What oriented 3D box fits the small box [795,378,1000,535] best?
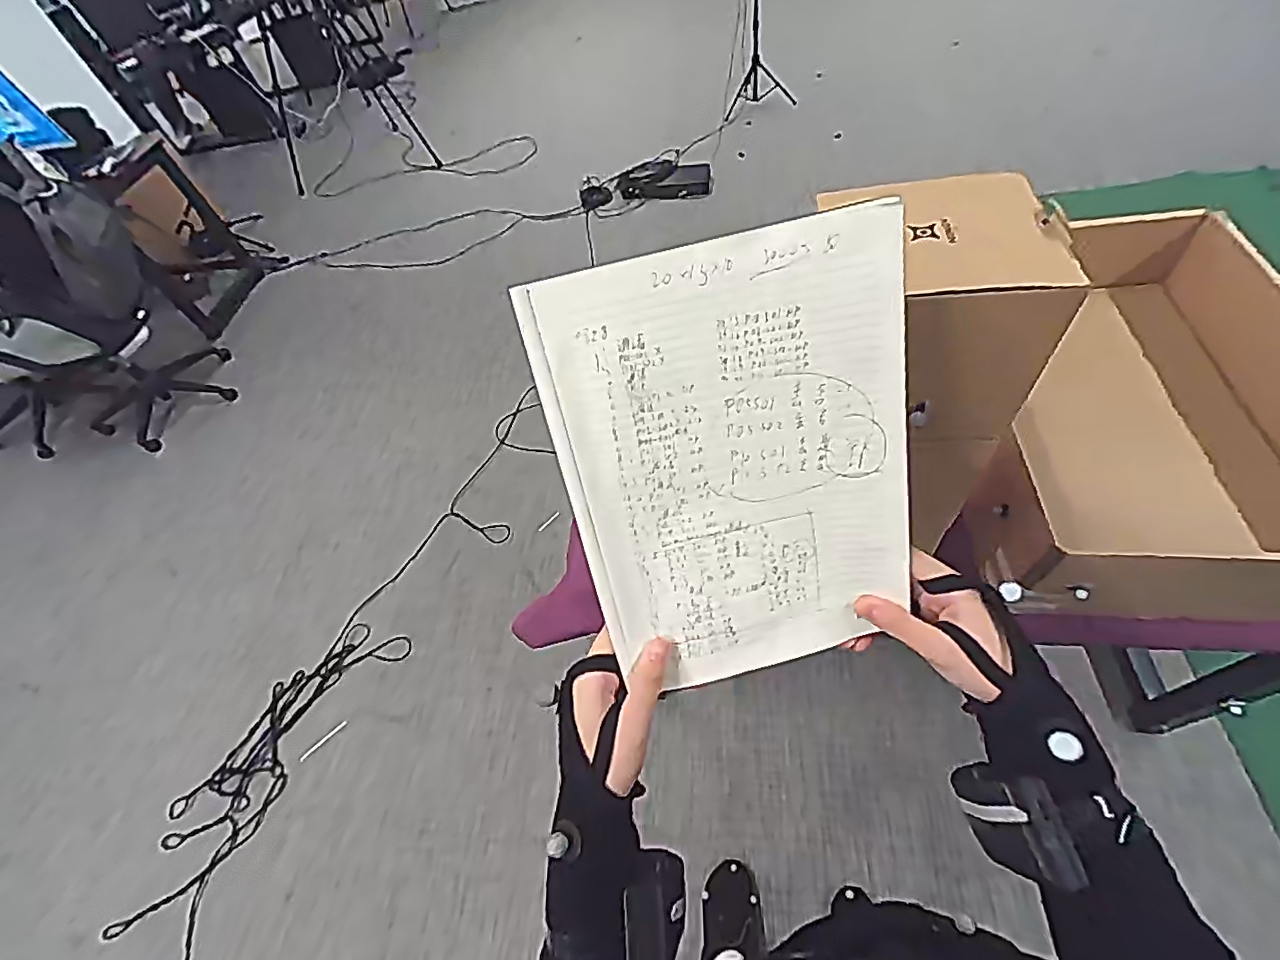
[{"bbox_3d":[0.281,-0.046,0.637,0.179,0.176,0.168,0,53,12],"label":"small box"}]

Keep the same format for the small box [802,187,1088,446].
[{"bbox_3d":[0.254,-0.145,0.507,0.179,0.176,0.168,0,52,10],"label":"small box"}]
